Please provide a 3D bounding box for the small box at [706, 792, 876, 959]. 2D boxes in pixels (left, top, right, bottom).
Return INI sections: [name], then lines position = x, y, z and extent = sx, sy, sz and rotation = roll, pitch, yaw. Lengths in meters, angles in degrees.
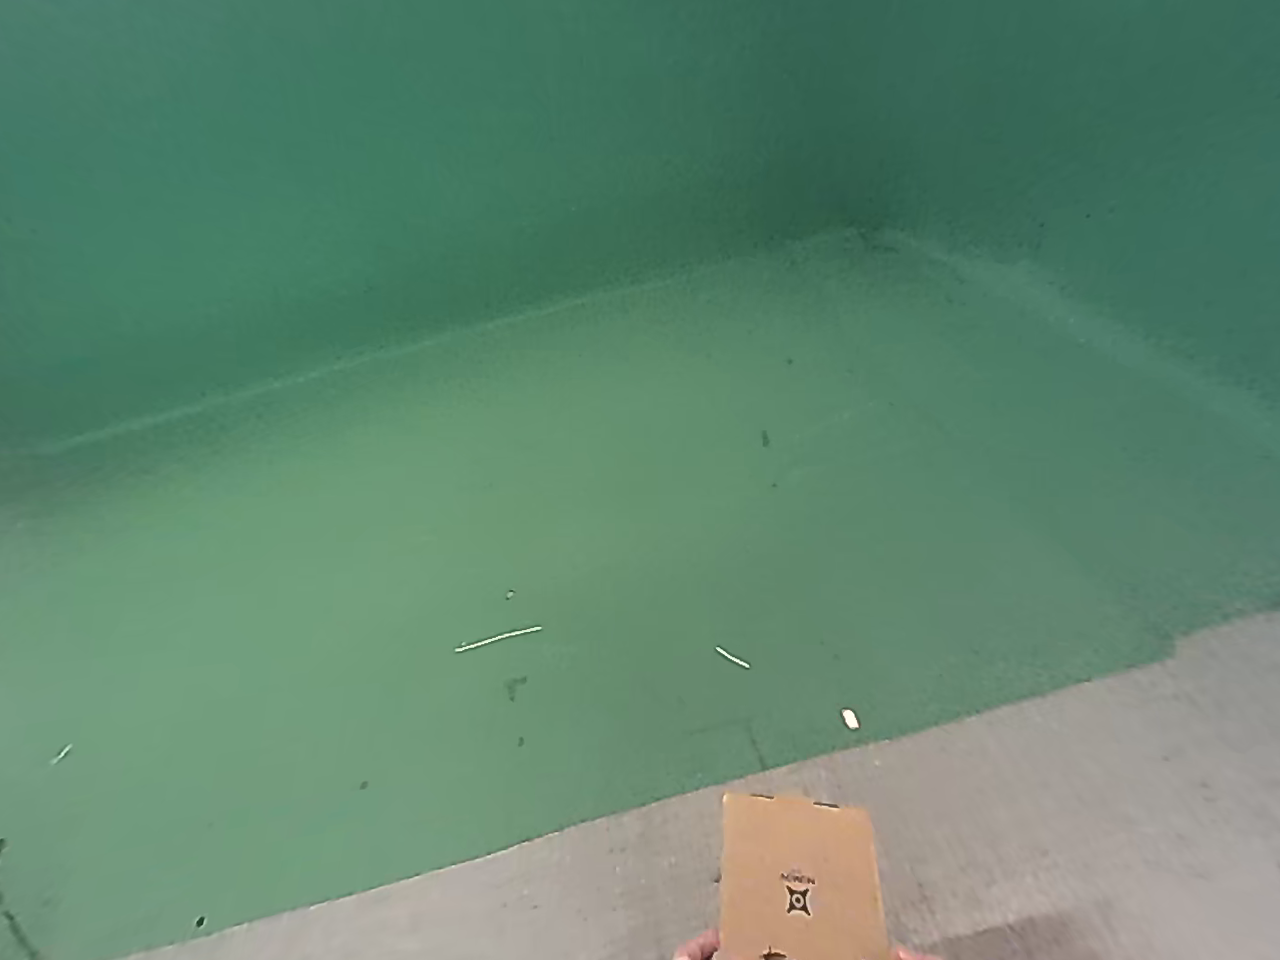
[small box]
position = 0.164, 0.491, 0.620
extent = 0.168, 0.176, 0.179
rotation = 0, 43, 11
